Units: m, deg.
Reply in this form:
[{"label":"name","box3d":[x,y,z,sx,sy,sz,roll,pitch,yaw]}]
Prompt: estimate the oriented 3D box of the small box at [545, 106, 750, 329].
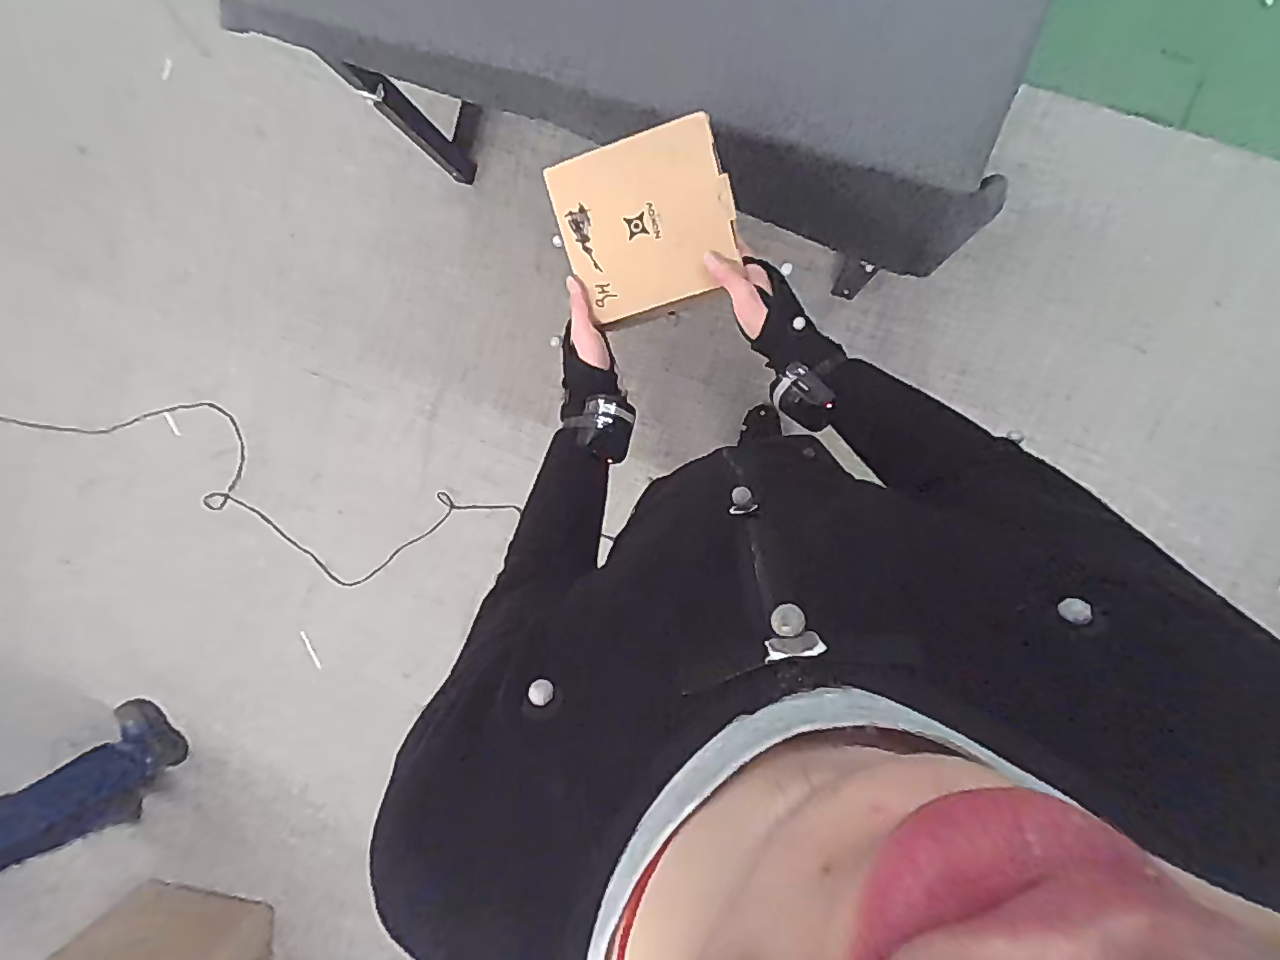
[{"label":"small box","box3d":[0.011,-0.279,0.617,0.179,0.176,0.168,-15,100,6]}]
